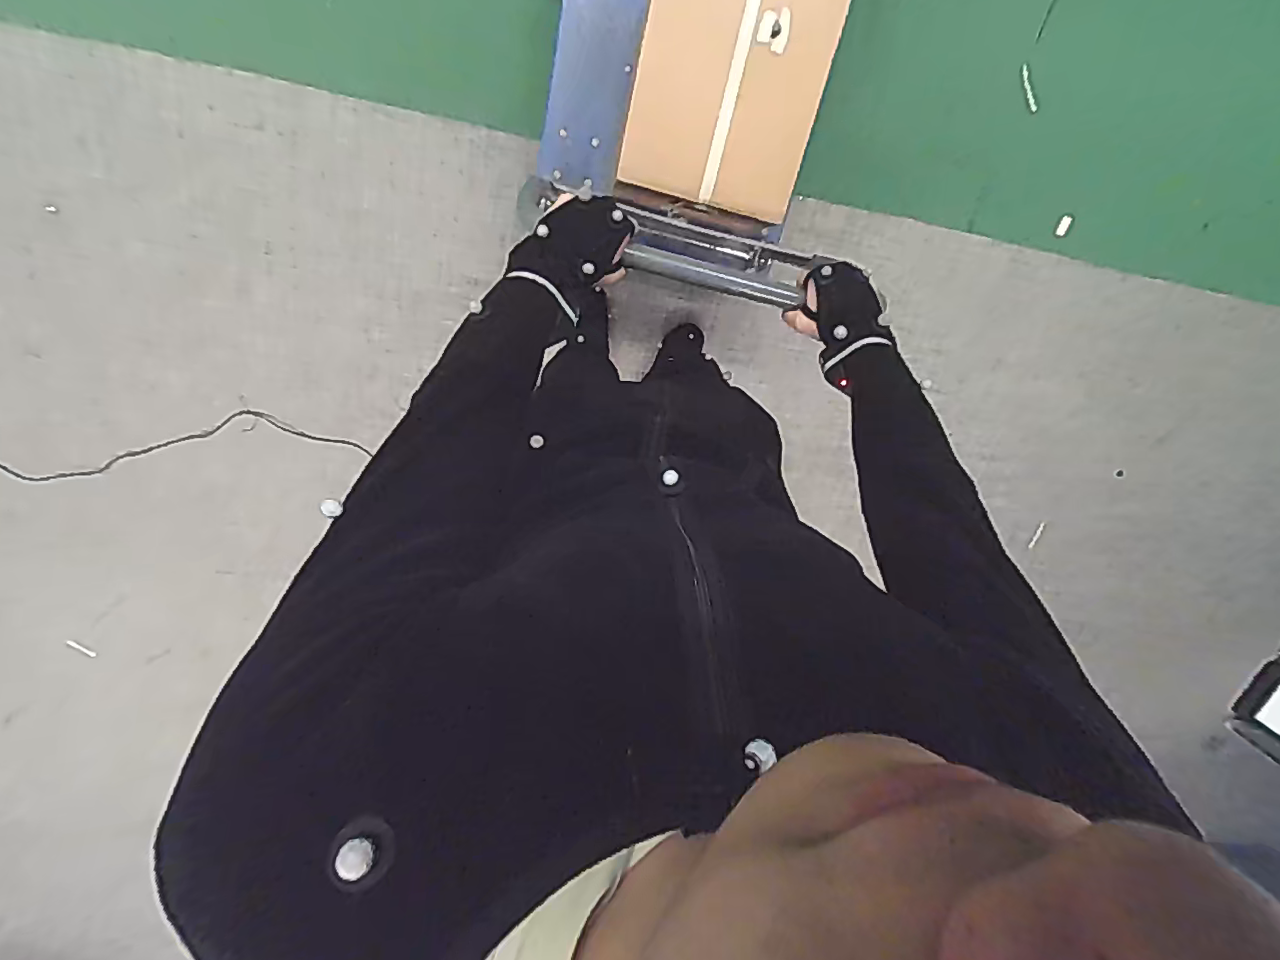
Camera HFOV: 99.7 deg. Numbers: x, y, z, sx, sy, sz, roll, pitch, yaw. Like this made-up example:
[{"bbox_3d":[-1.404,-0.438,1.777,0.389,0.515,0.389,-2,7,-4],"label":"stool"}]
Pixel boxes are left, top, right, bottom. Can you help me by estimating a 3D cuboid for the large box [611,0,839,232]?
[{"bbox_3d":[0.132,-0.726,1.035,0.320,0.320,0.408,10,111,-11],"label":"large box"}]
